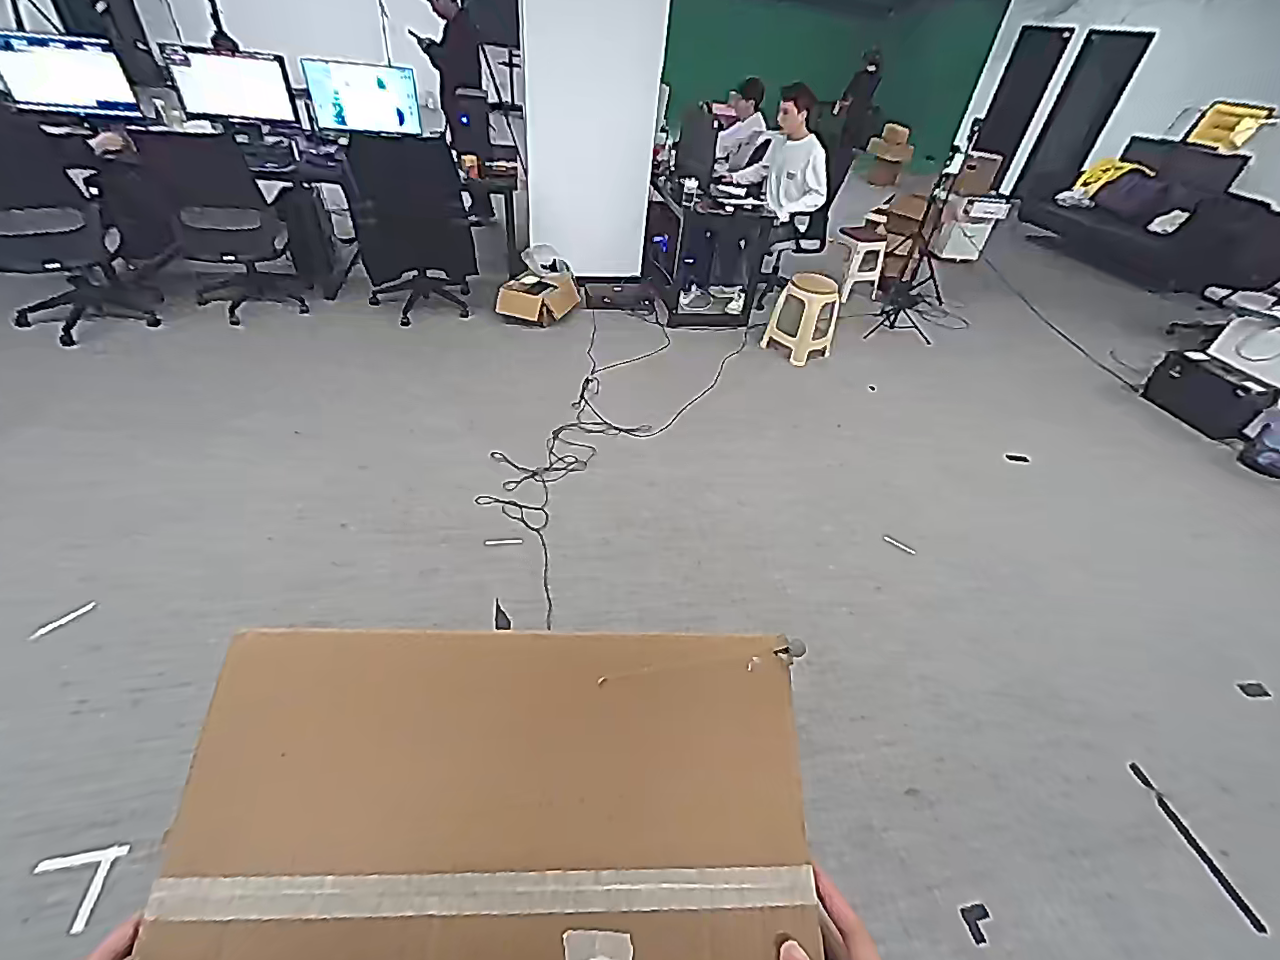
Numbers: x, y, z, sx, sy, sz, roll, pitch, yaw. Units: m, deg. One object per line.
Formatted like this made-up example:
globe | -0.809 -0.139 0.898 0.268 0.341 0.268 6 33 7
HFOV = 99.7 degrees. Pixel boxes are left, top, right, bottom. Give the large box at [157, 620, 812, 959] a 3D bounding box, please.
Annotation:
large box | -0.100 0.312 0.486 0.408 0.320 0.320 2 66 -3
